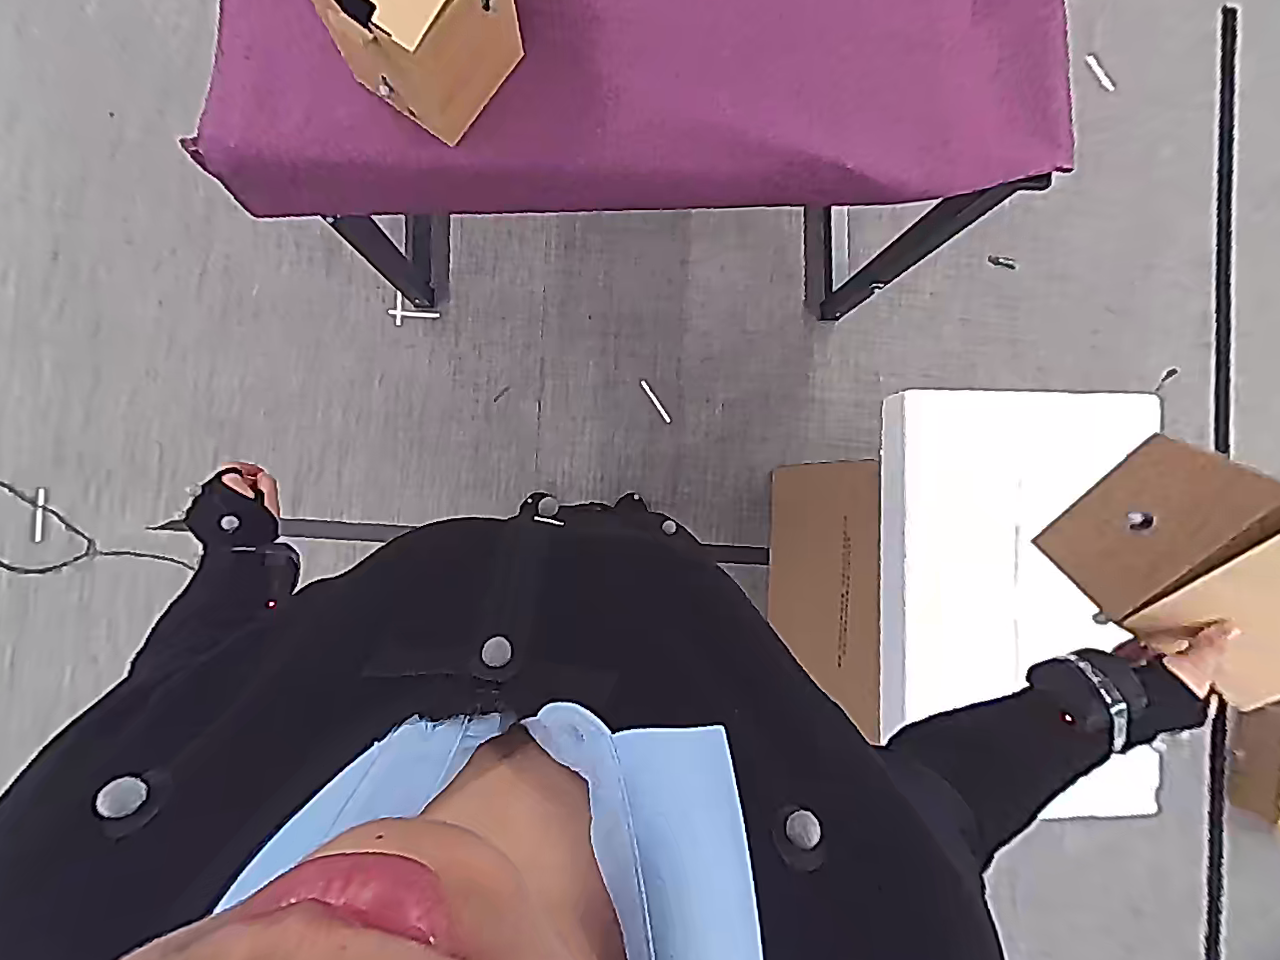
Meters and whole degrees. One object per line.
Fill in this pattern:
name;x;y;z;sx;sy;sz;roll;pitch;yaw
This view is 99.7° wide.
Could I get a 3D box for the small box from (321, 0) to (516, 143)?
small box;-0.276;-0.590;0.689;0.168;0.176;0.179;35;86;-2
